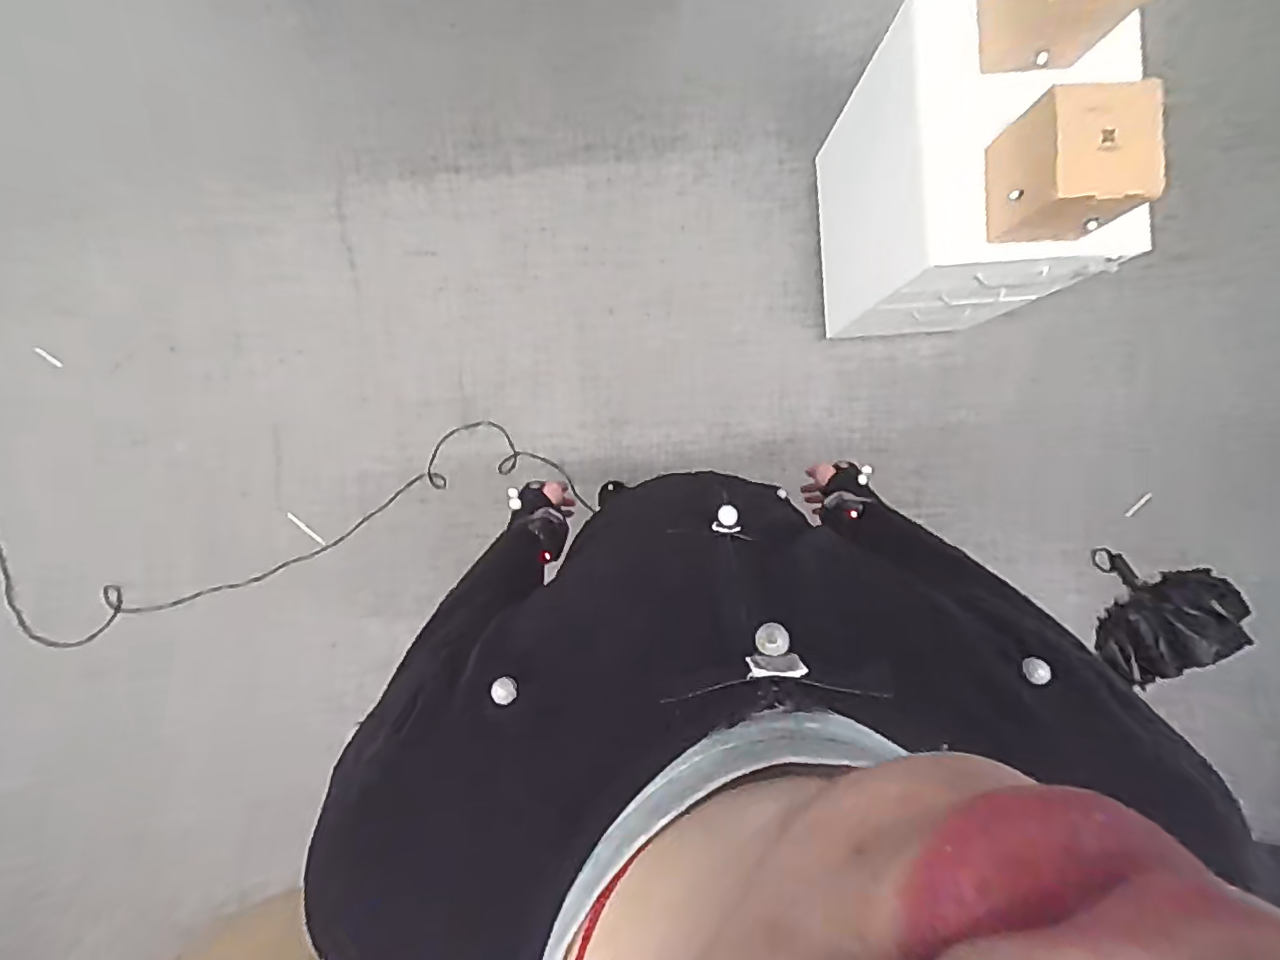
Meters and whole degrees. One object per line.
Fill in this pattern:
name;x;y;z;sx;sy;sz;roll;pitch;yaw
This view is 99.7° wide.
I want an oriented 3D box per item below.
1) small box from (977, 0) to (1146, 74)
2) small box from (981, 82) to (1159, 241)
small box;0.680;-0.810;0.881;0.168;0.176;0.179;-4;94;-1
small box;0.697;-0.511;0.893;0.168;0.176;0.179;-3;90;-2
